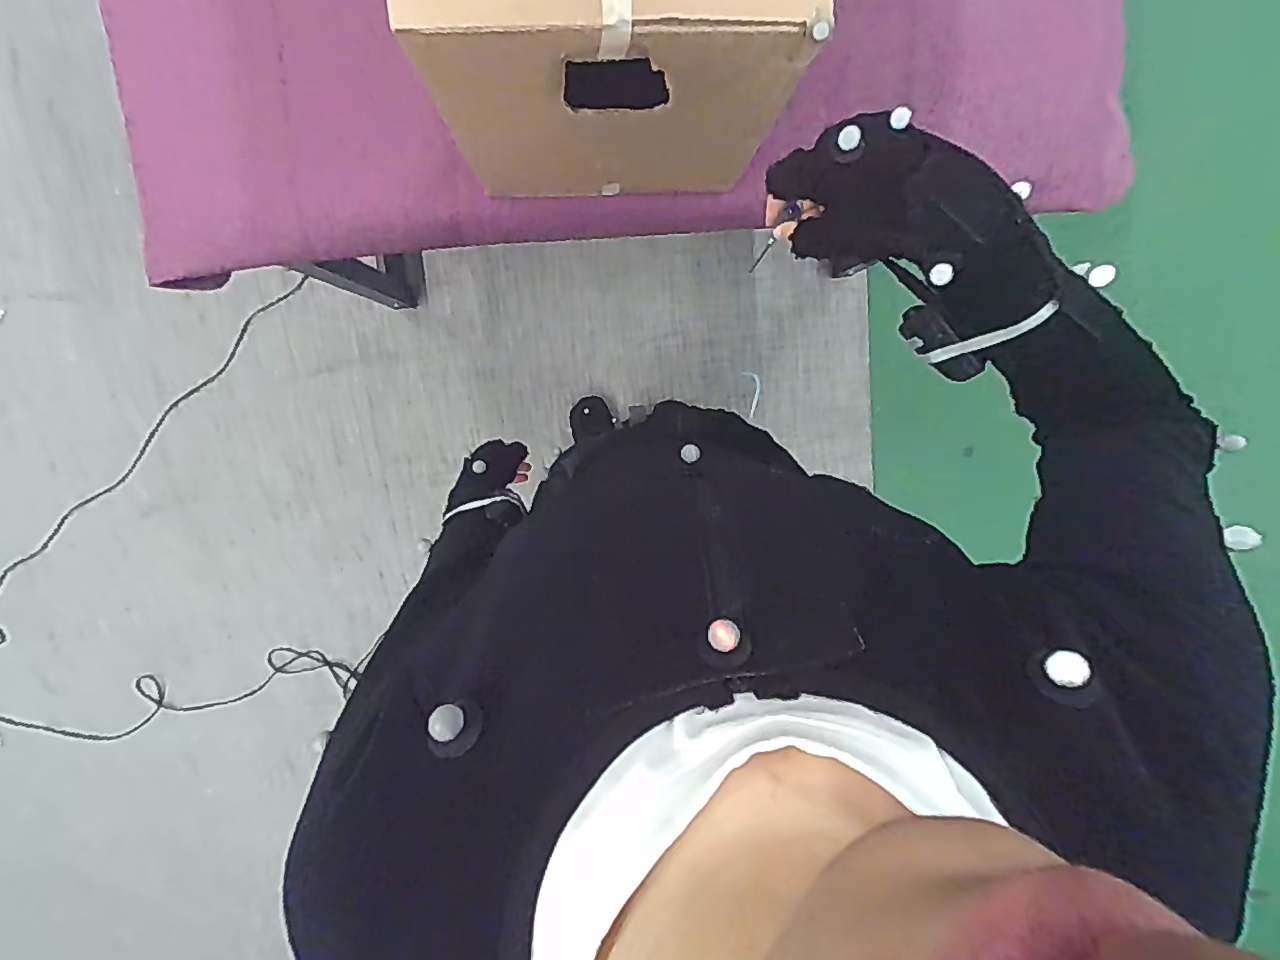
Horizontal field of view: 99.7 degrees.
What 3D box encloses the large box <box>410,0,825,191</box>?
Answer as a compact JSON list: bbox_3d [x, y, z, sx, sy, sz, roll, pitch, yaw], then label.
[{"bbox_3d":[-0.034,-0.543,0.514,0.320,0.320,0.408,-3,100,-3],"label":"large box"}]
